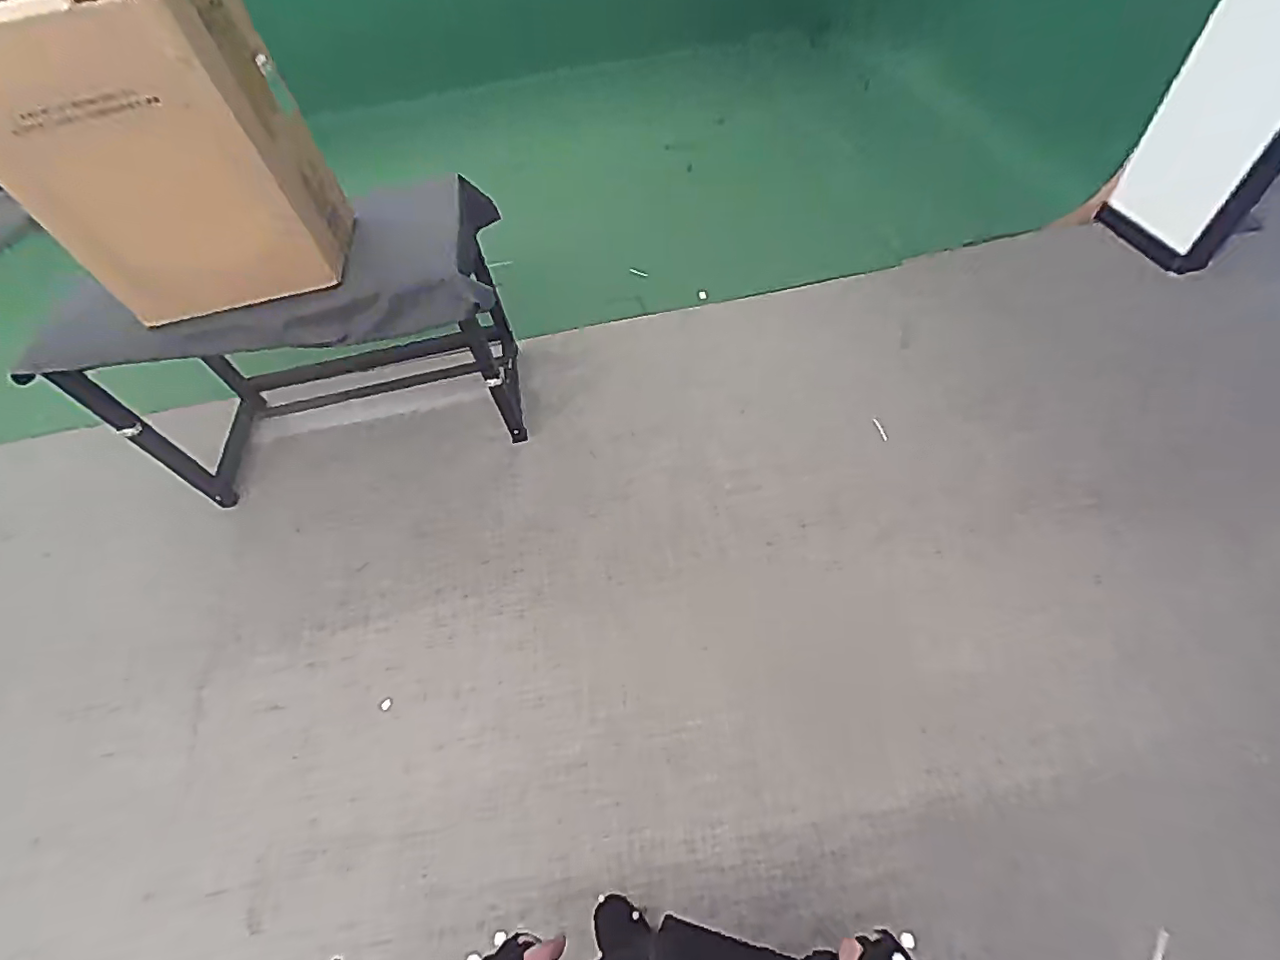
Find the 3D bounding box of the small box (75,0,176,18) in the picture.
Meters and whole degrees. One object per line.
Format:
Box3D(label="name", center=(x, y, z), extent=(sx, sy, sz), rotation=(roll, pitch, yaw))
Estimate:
Box3D(label="small box", center=(-0.985, -0.988, 0.998), extent=(0.168, 0.176, 0.179), rotation=(-14, 54, -3))
